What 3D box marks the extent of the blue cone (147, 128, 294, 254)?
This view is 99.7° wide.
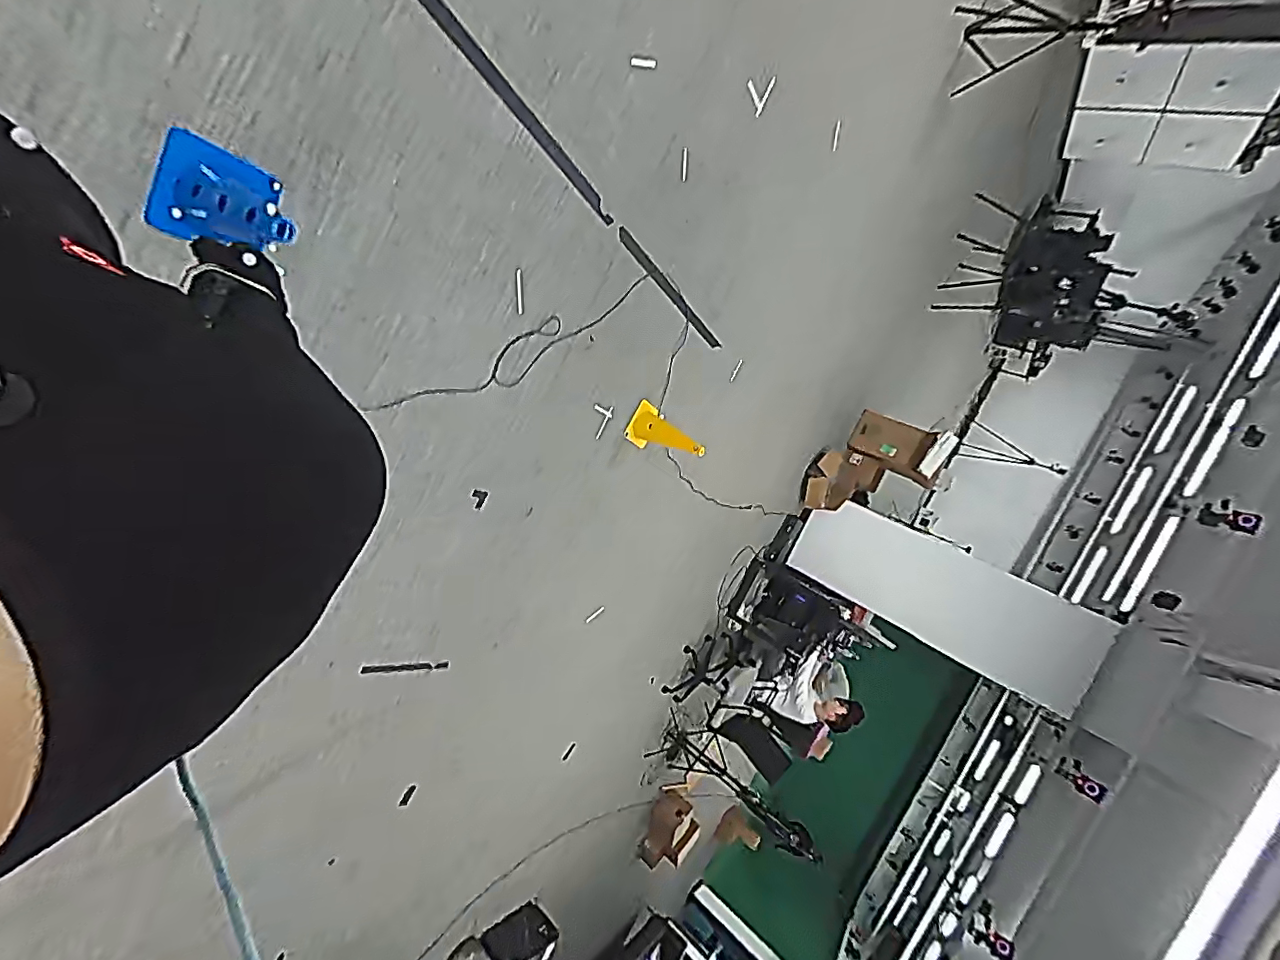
[{"bbox_3d":[-0.746,-0.512,1.013,0.193,0.380,0.192,15,102,-57],"label":"blue cone"}]
